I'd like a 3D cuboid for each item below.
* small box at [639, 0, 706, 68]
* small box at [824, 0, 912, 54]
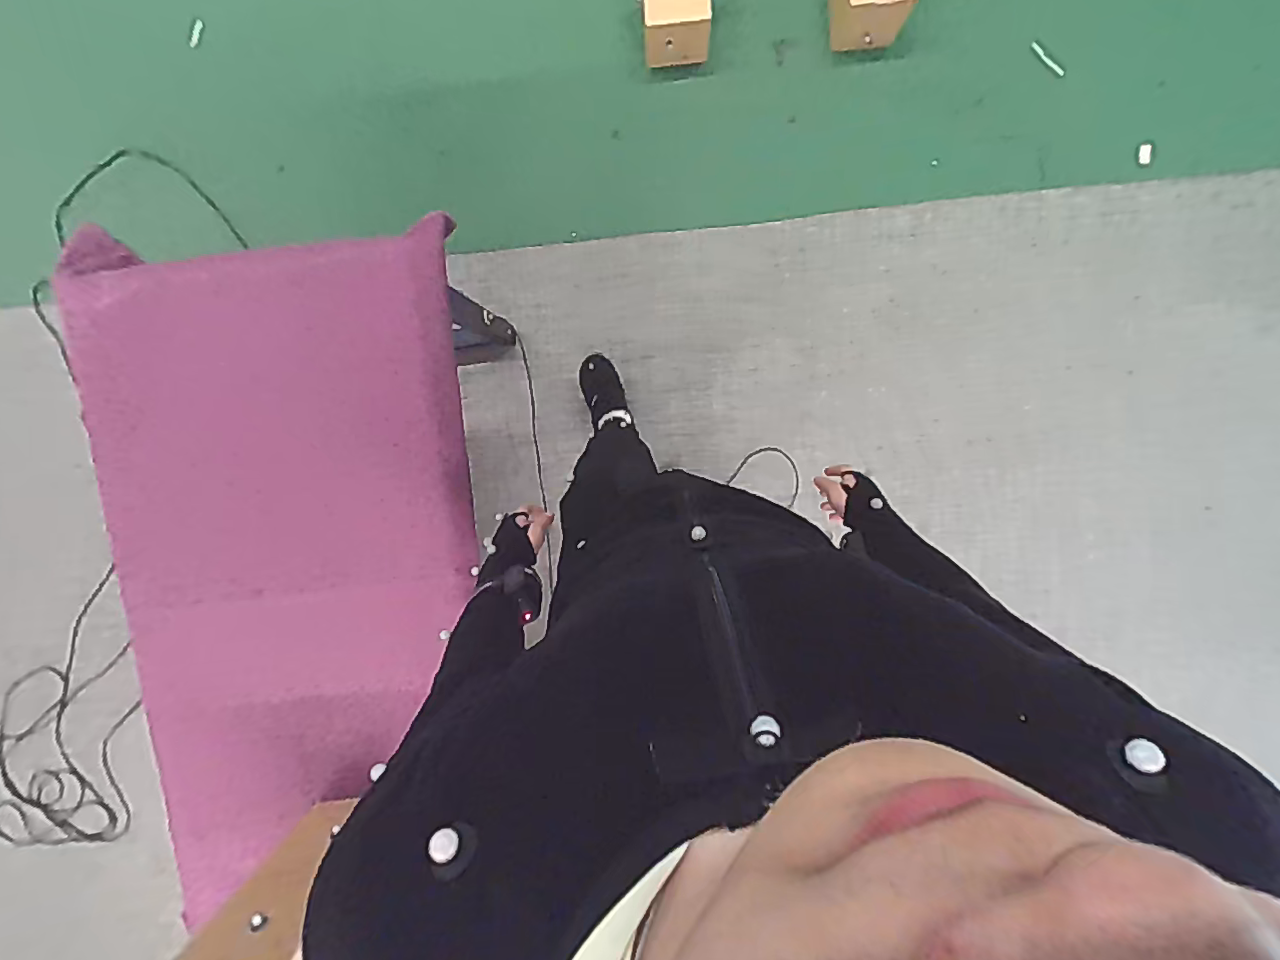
[{"bbox_3d":[0.083,-1.227,1.425,0.168,0.176,0.179,-5,94,2],"label":"small box"},{"bbox_3d":[0.585,-1.260,1.404,0.168,0.176,0.179,-4,95,2],"label":"small box"}]
